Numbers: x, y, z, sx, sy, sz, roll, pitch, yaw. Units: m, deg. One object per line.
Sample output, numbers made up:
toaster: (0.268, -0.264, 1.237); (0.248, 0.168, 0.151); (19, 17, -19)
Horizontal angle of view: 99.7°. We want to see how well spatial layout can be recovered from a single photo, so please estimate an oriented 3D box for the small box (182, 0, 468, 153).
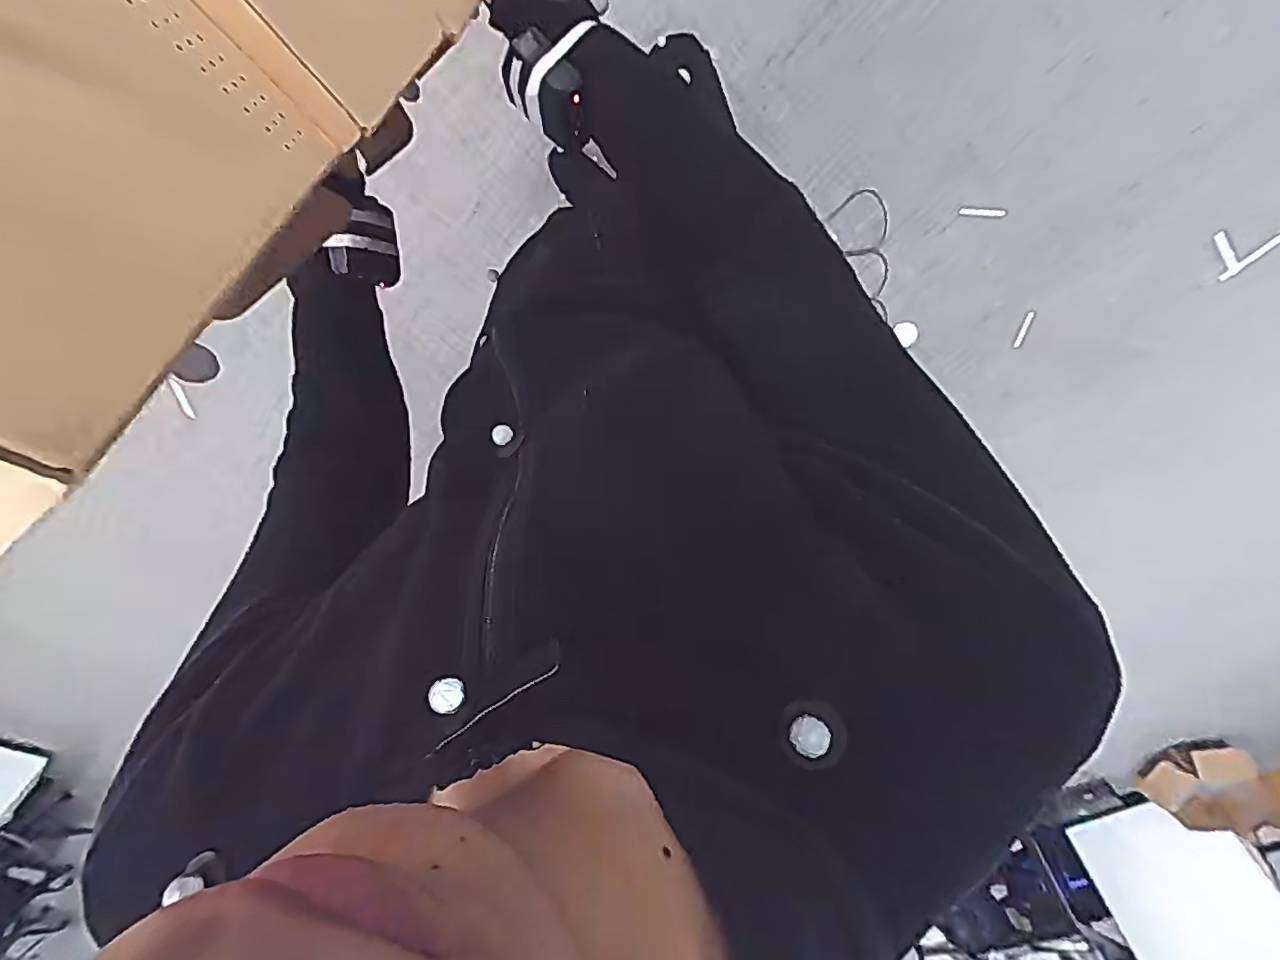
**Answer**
small box: (-0.225, -0.332, 0.323); (0.168, 0.176, 0.179); (-23, 137, 20)
